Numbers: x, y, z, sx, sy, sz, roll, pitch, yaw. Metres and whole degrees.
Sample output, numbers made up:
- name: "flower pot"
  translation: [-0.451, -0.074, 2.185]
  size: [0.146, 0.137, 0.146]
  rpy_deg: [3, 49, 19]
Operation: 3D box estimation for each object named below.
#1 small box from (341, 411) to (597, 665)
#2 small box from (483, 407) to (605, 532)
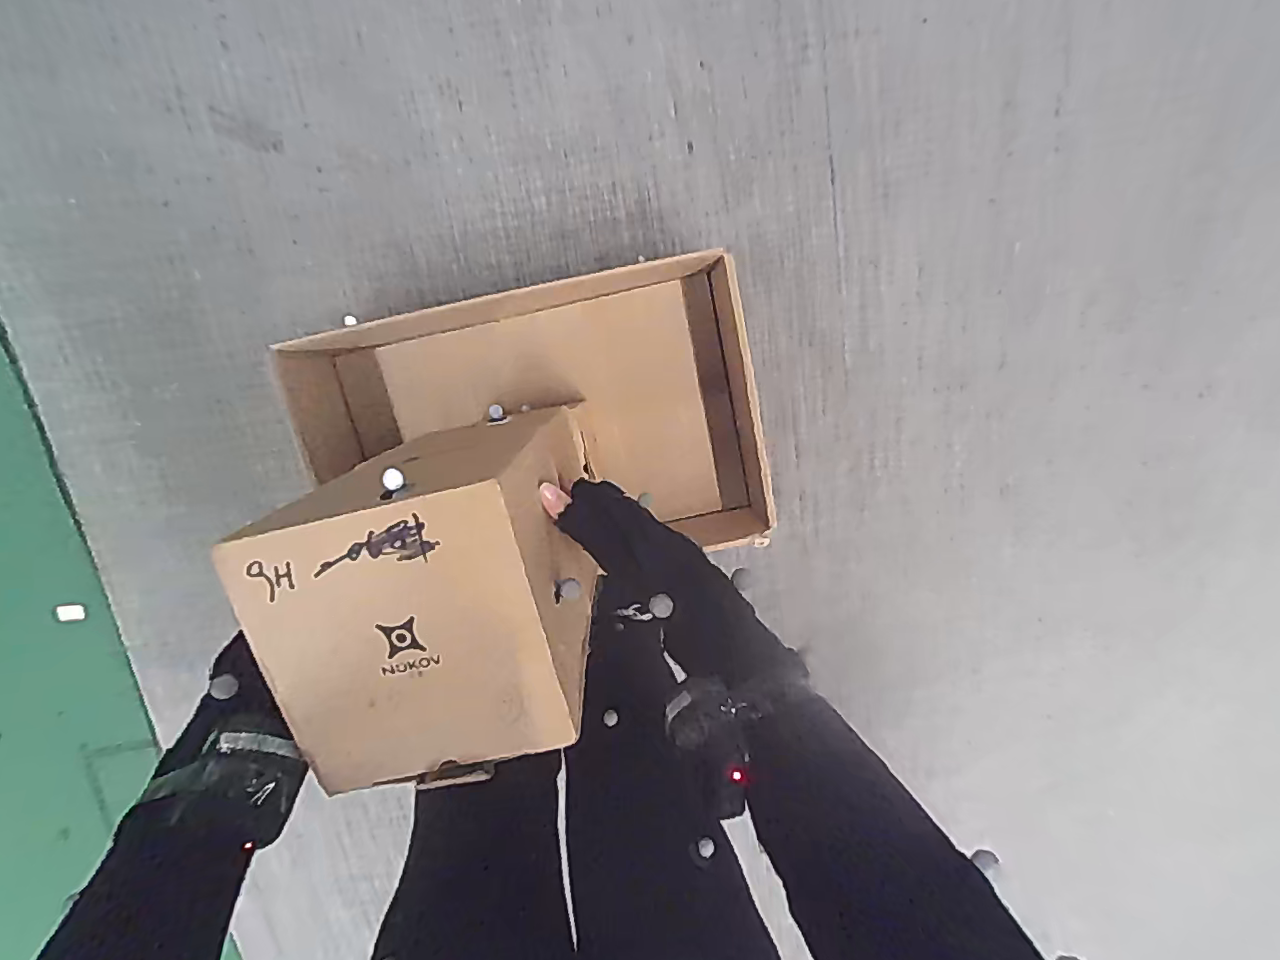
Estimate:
- name: "small box"
  translation: [-0.146, 0.045, 0.538]
  size: [0.168, 0.176, 0.179]
  rpy_deg: [-17, 105, 3]
- name: "small box"
  translation: [-0.151, -0.009, 0.801]
  size: [0.179, 0.176, 0.168]
  rpy_deg: [-10, 101, 4]
